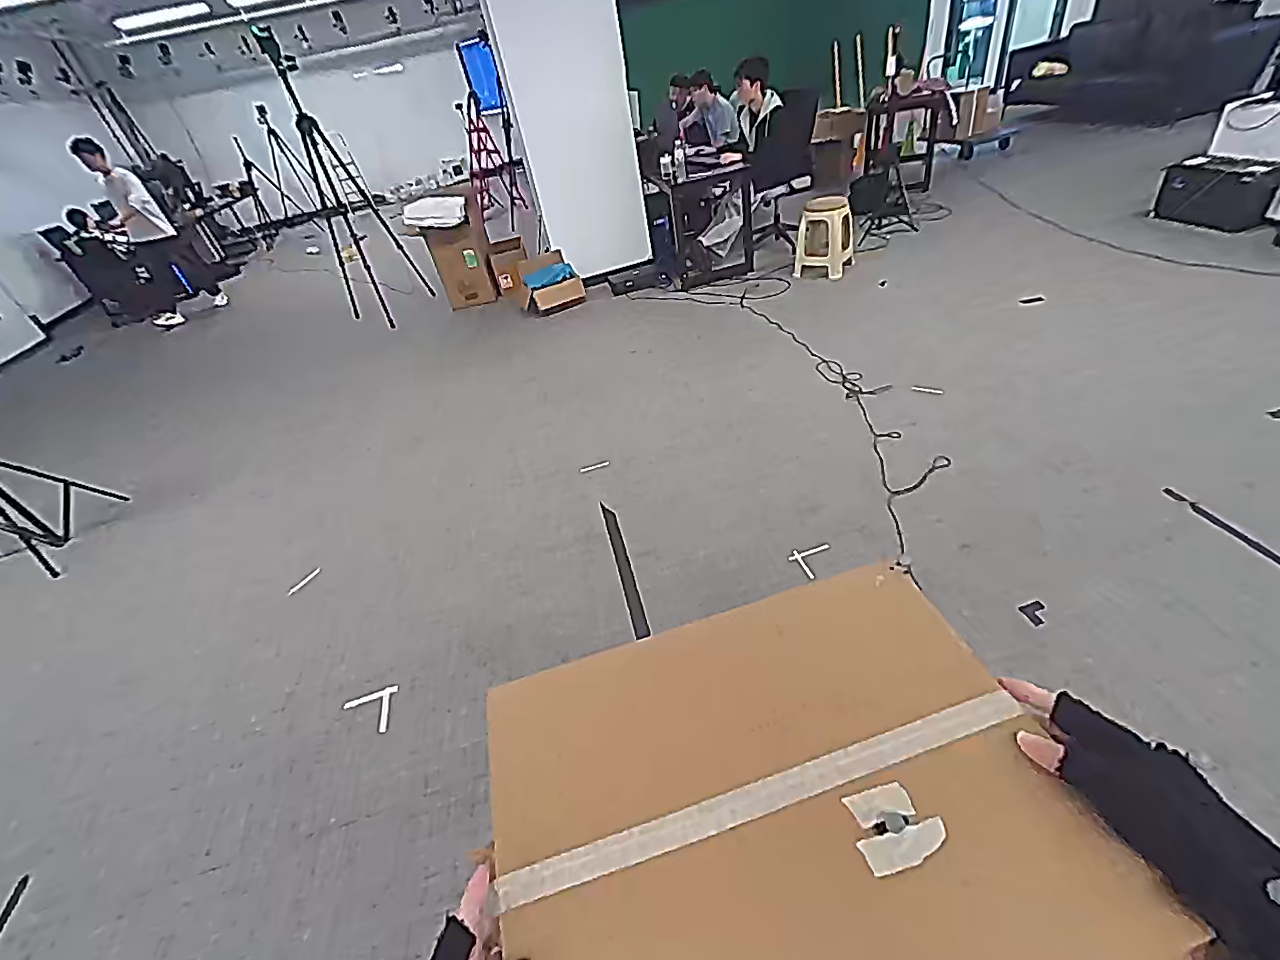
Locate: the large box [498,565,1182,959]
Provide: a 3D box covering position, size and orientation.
[{"bbox_3d":[0.118,0.344,0.506,0.408,0.320,0.320,-16,42,-7],"label":"large box"}]
